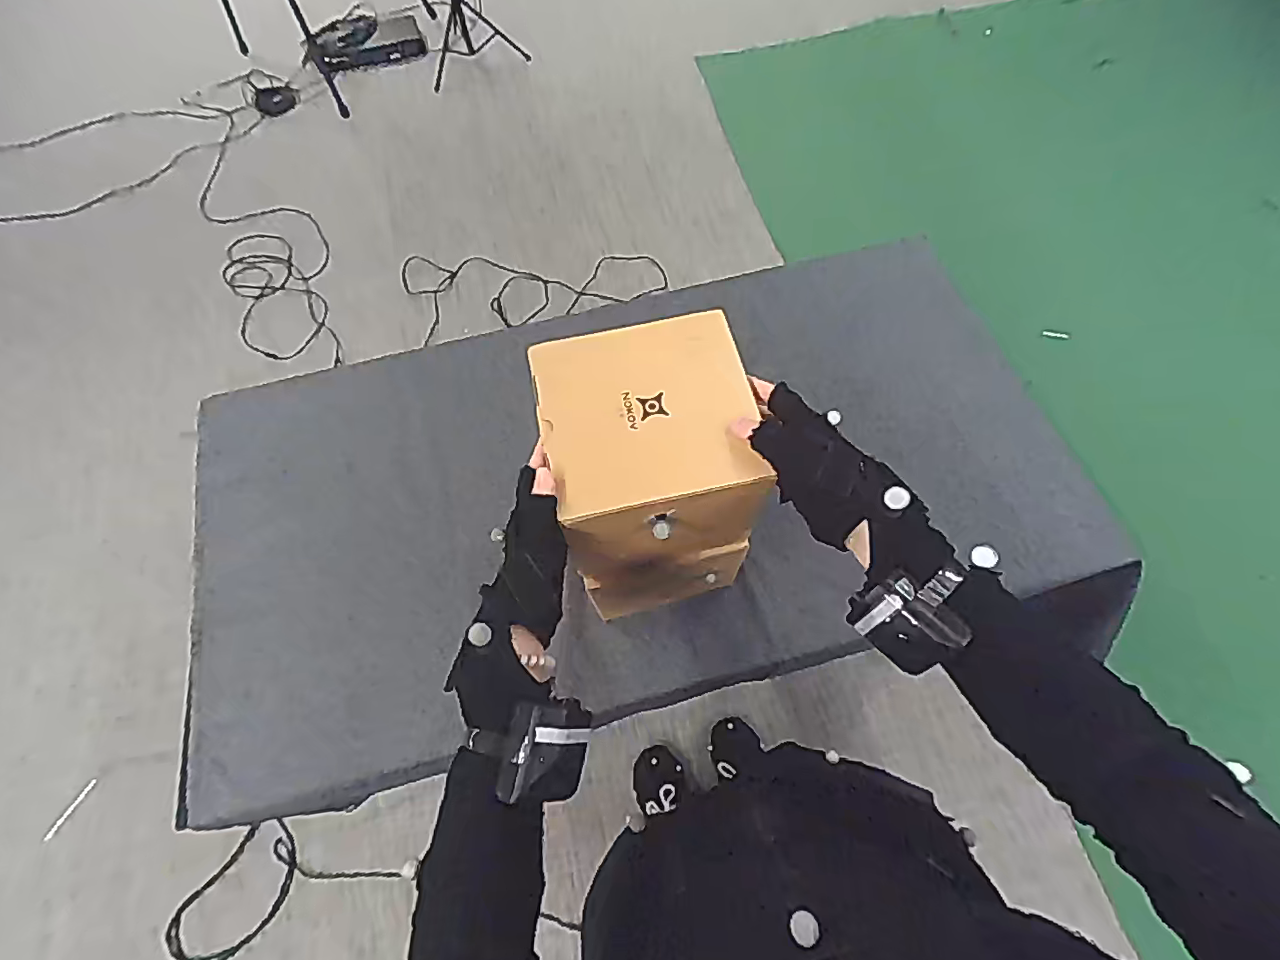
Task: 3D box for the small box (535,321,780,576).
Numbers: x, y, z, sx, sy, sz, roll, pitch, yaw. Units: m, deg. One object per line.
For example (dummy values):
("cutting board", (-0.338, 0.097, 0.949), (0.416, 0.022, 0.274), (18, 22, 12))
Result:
("small box", (0.010, -0.020, 0.514), (0.179, 0.176, 0.168), (-12, 66, -3))
